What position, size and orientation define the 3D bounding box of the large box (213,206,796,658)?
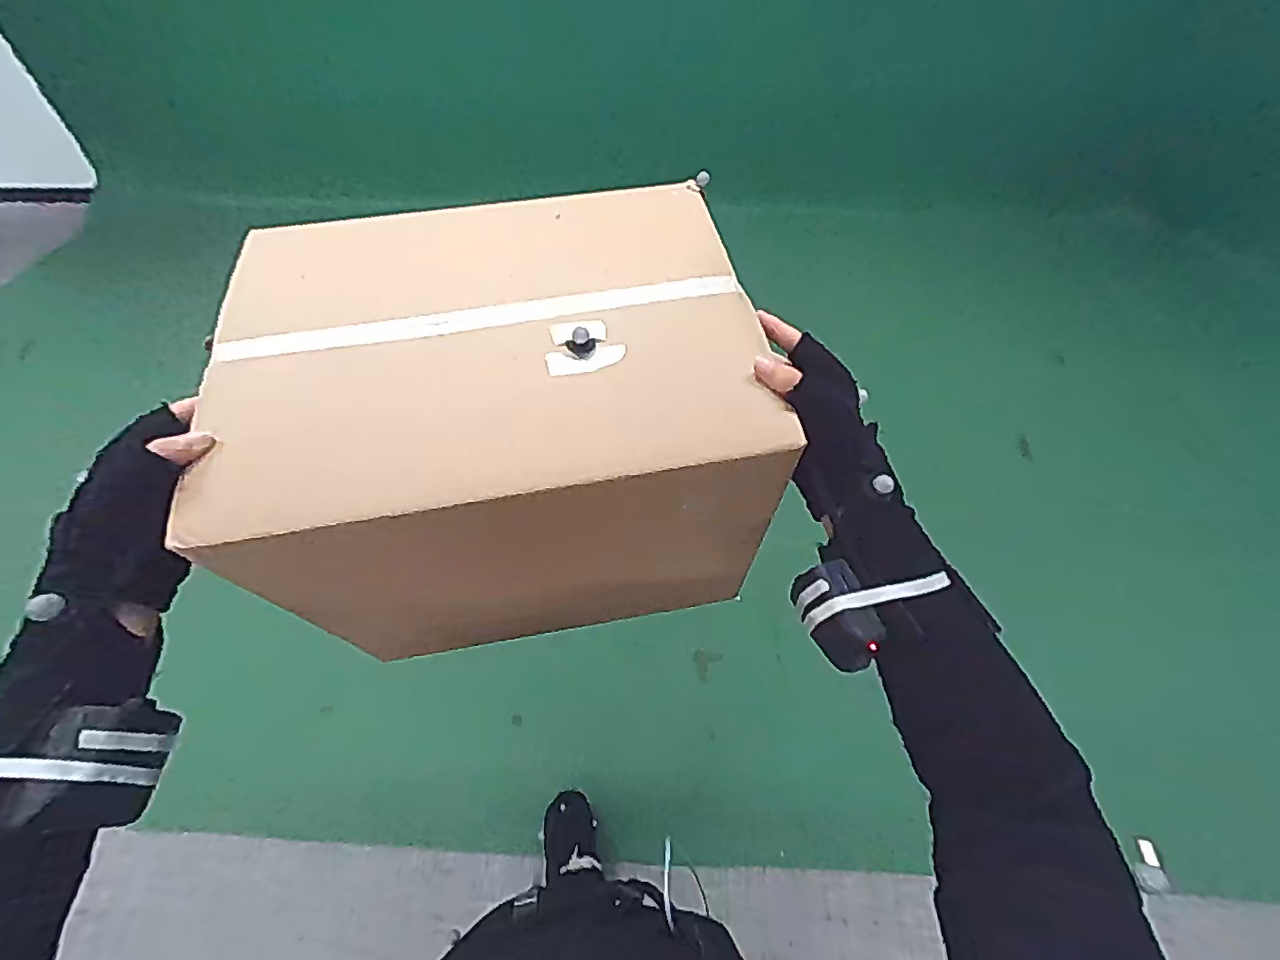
[{"bbox_3d":[-0.112,-0.038,0.567,0.408,0.320,0.320,-9,60,-6],"label":"large box"}]
